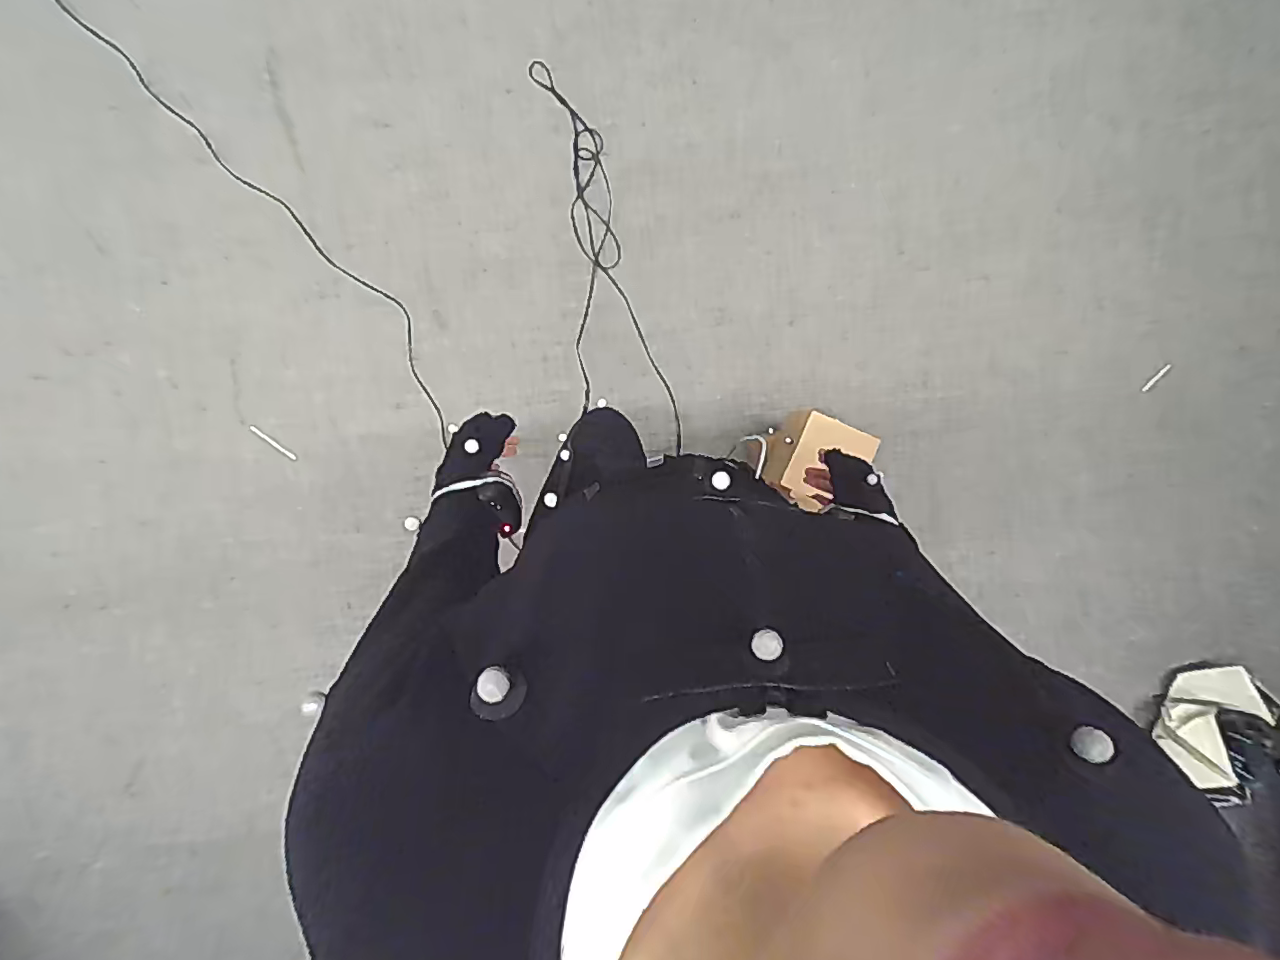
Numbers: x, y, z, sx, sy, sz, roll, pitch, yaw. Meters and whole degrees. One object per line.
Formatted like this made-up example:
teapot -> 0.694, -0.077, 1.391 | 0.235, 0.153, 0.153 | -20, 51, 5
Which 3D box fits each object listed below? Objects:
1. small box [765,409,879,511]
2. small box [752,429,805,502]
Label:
small box -> 0.405, -0.050, 1.237 | 0.168, 0.176, 0.179 | 23, 95, -3
small box -> 0.396, -0.048, 1.386 | 0.179, 0.176, 0.168 | -12, 96, -1
